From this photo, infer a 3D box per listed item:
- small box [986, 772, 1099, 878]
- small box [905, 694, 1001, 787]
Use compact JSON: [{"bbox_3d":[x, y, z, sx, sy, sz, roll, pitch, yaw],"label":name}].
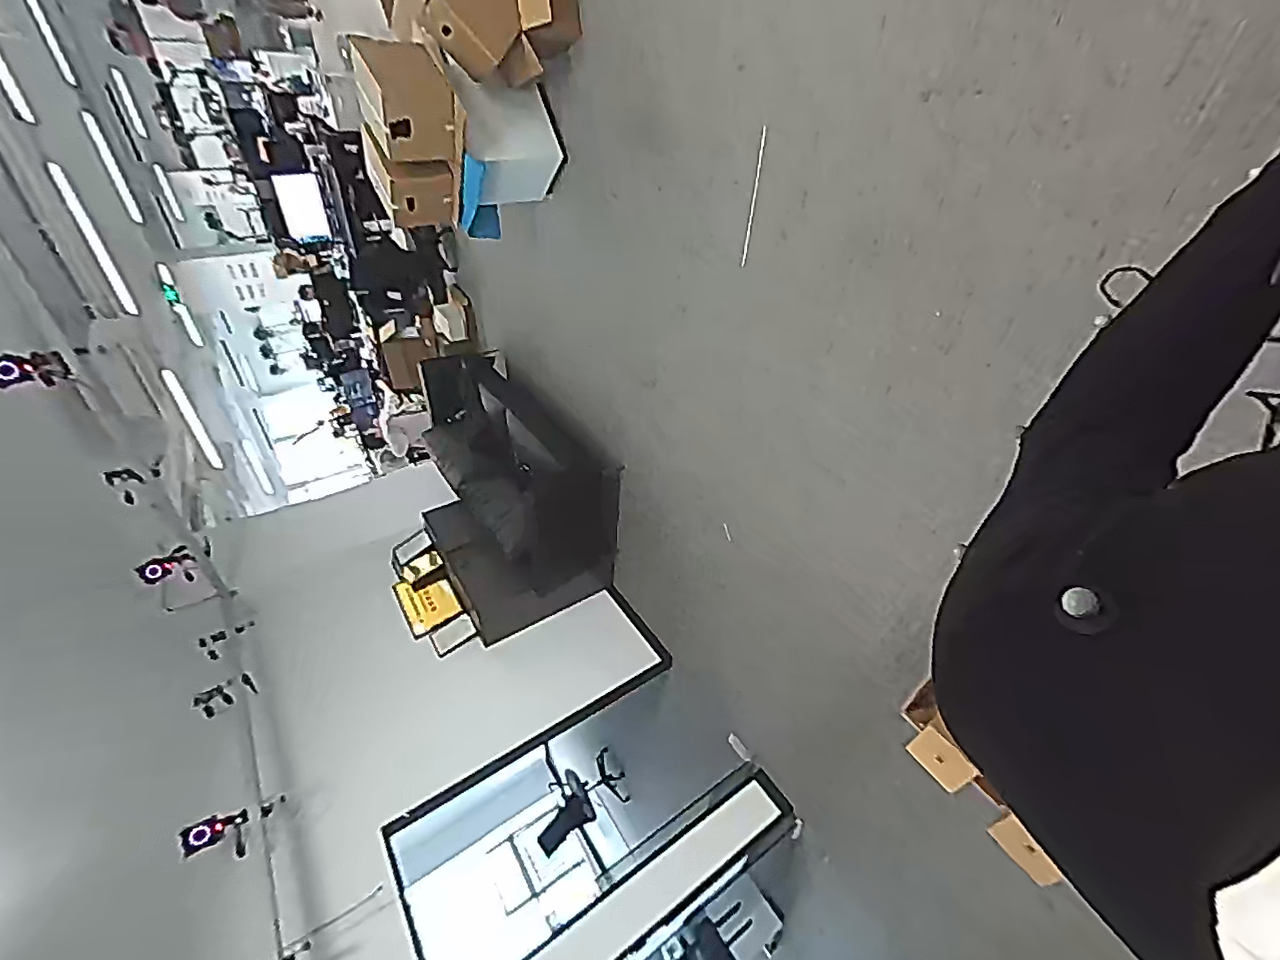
[{"bbox_3d":[1.136,0.971,1.526,0.168,0.176,0.179,46,144,35],"label":"small box"},{"bbox_3d":[0.980,0.810,1.689,0.168,0.176,0.179,46,143,35],"label":"small box"}]
